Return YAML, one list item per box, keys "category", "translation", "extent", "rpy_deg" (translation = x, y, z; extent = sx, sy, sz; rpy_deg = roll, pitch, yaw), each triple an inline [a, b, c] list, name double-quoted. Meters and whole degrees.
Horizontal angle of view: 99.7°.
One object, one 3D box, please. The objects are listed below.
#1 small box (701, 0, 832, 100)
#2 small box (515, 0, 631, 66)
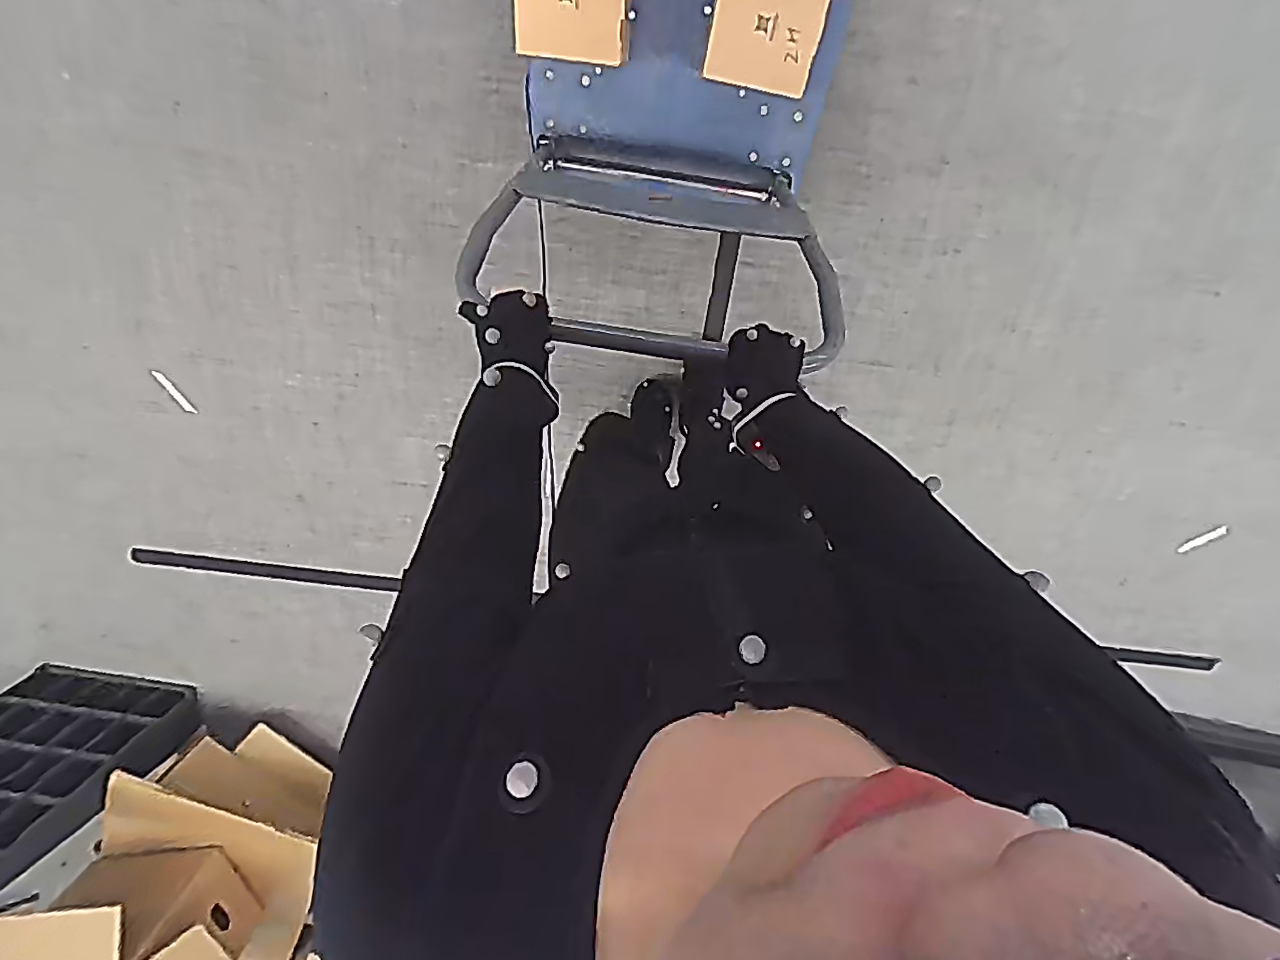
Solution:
- category: "small box"
  translation: [0.207, -0.765, 0.917]
  extent: [0.179, 0.176, 0.168]
  rpy_deg: [10, 129, -4]
- category: "small box"
  translation: [-0.107, -0.808, 0.909]
  extent: [0.179, 0.176, 0.168]
  rpy_deg: [5, 129, -2]
